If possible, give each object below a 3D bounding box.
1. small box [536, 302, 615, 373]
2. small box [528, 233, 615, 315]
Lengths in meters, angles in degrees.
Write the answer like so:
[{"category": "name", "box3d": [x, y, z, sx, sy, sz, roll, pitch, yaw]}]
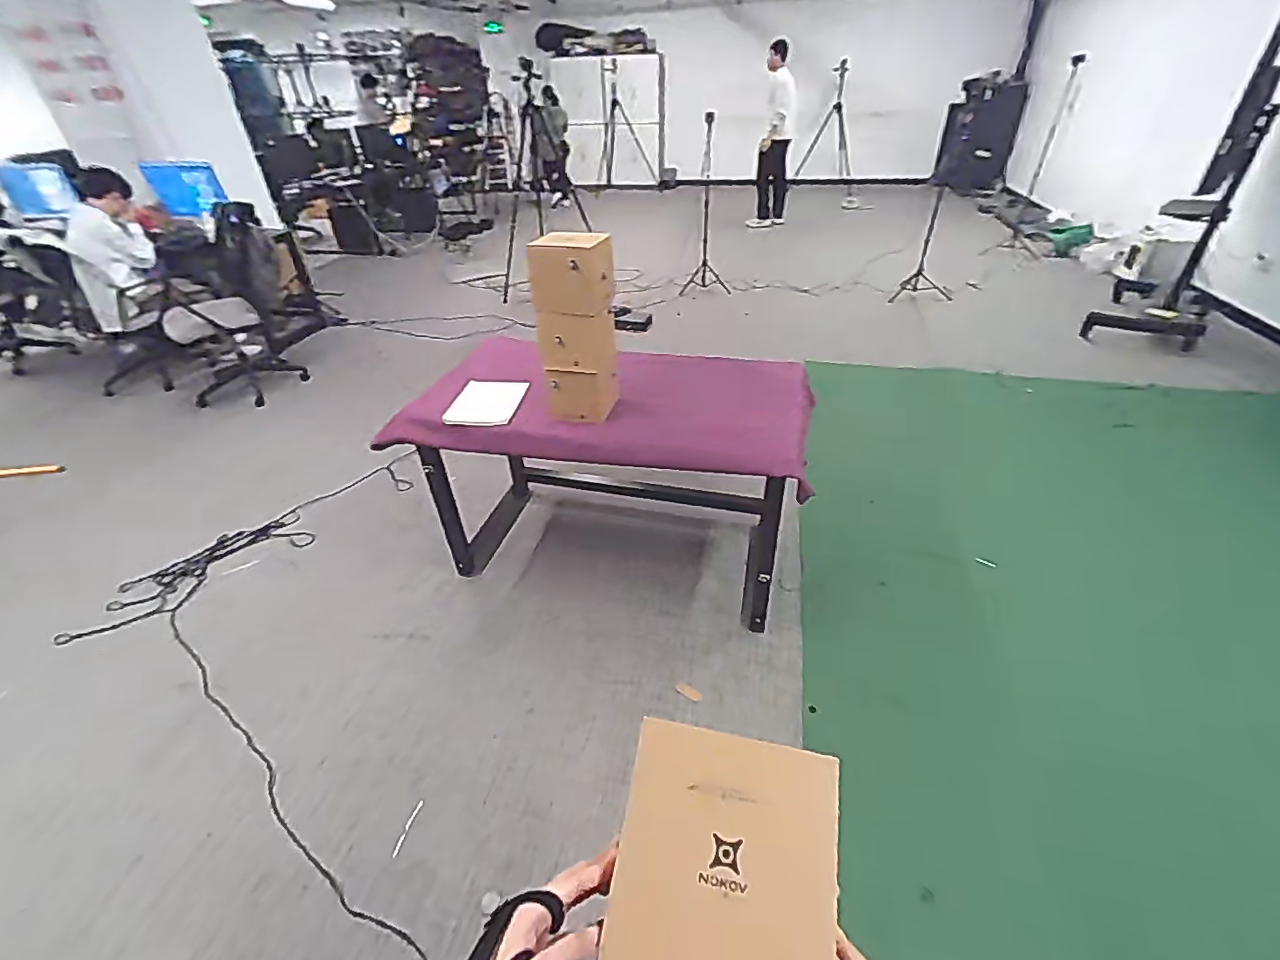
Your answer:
[{"category": "small box", "box3d": [-0.173, -0.414, 1.529, 0.168, 0.176, 0.179, 8, 36, 13]}, {"category": "small box", "box3d": [-0.172, -0.544, 1.427, 0.179, 0.176, 0.168, 9, 36, 15]}]
